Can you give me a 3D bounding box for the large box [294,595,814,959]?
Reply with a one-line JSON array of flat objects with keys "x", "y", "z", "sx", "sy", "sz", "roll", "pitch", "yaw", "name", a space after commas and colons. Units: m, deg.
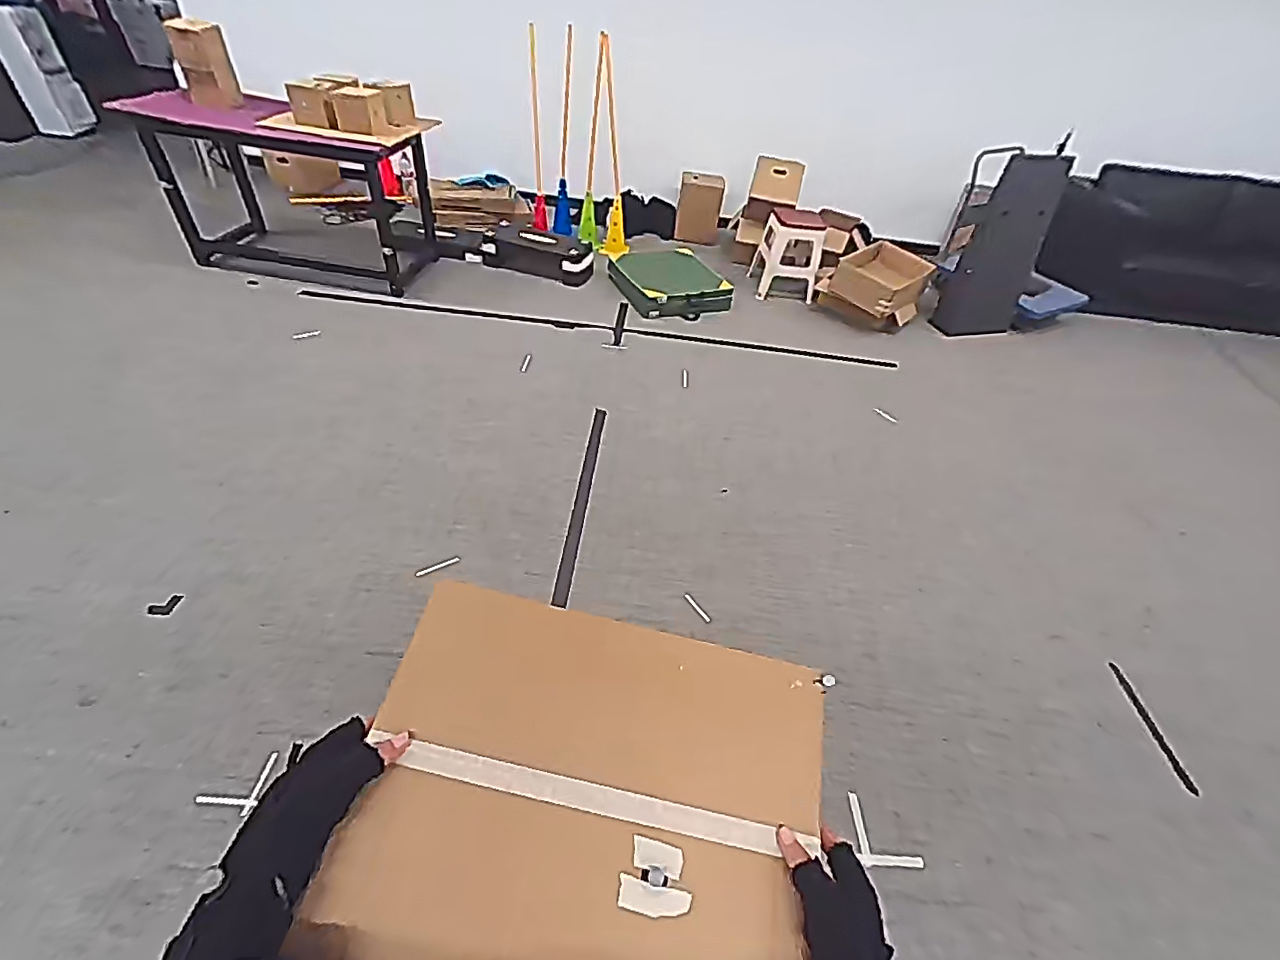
[{"x": -0.058, "y": 0.367, "z": 0.607, "sx": 0.408, "sy": 0.320, "sz": 0.320, "roll": 13, "pitch": 57, "yaw": 2, "name": "large box"}]
